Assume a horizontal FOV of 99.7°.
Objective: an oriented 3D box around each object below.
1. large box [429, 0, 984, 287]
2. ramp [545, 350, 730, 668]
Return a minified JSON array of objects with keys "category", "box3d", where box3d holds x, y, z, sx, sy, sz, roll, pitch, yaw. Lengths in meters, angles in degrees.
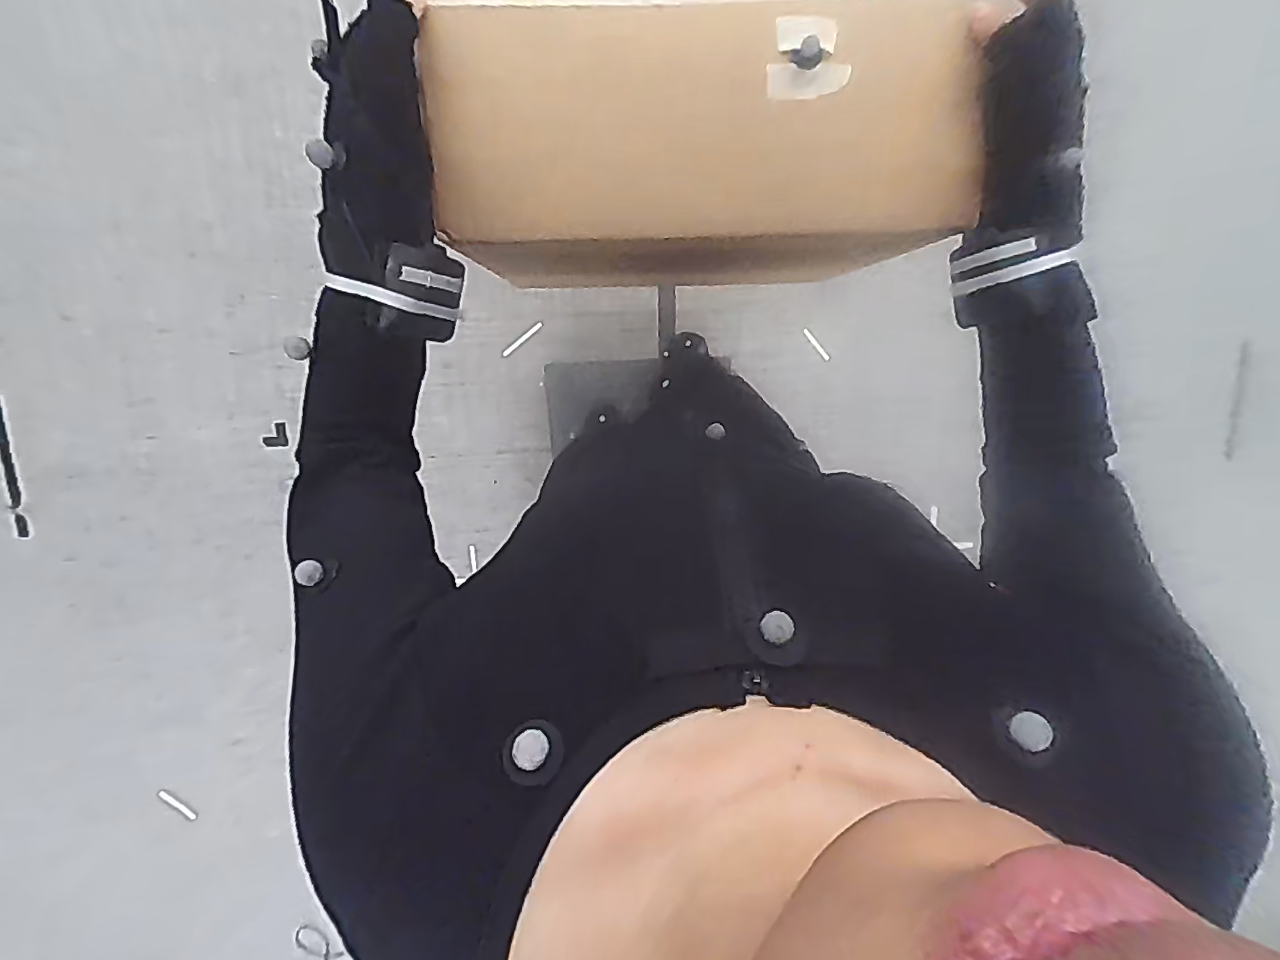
[{"category":"large box","box3d":[0.041,-0.376,0.527,0.408,0.320,0.320,-3,104,-2]},{"category":"ramp","box3d":[0.014,0.132,1.588,0.509,0.206,0.991,-5,102,-4]}]
